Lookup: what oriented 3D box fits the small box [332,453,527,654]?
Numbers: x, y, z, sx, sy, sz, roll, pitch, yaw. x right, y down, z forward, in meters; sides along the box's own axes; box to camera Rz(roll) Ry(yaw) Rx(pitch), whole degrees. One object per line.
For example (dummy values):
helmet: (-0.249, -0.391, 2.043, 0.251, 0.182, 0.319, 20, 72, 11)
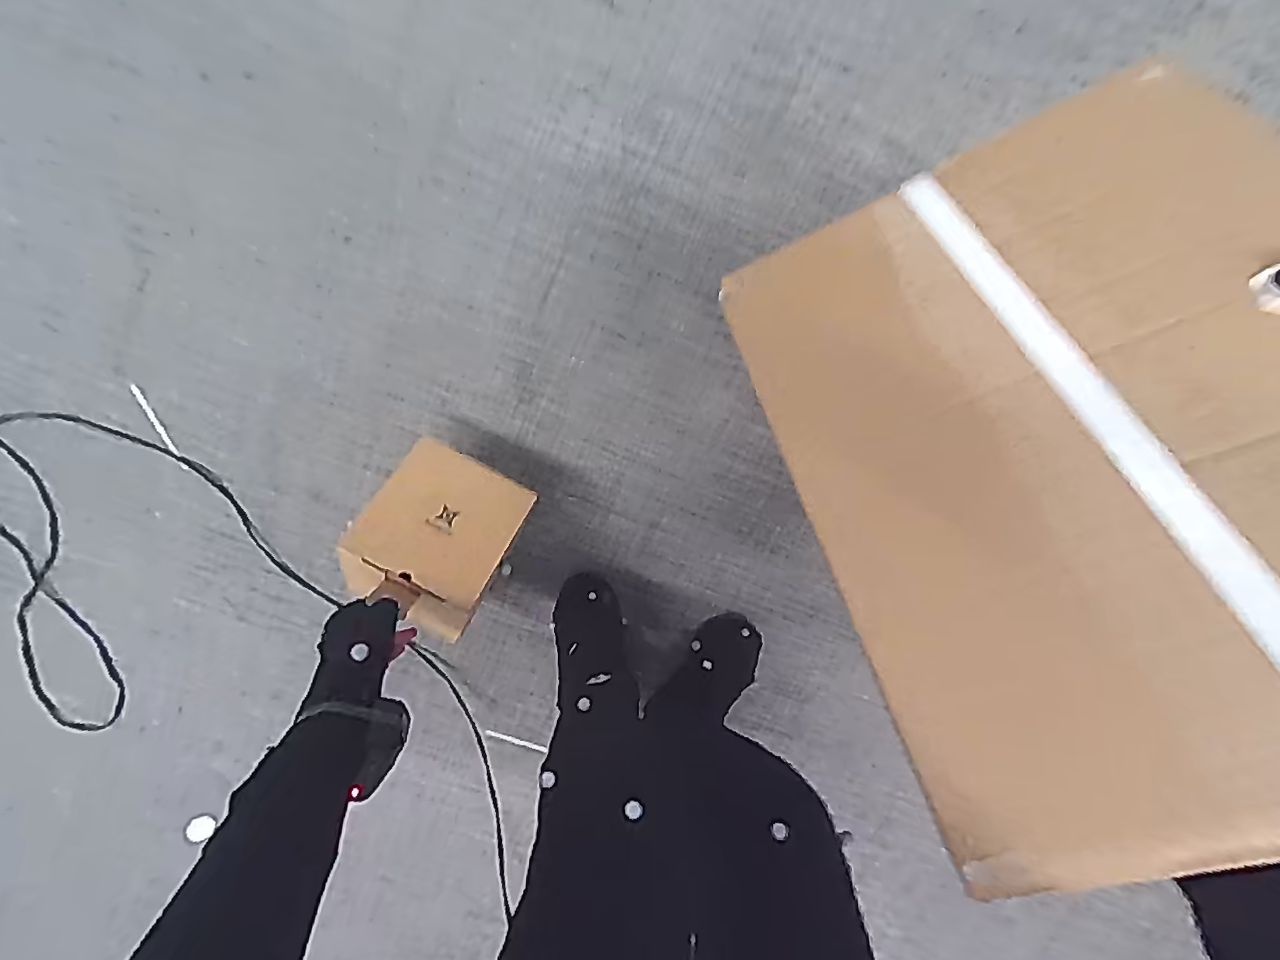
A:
small box: (-0.277, 0.103, 0.720, 0.168, 0.179, 0.176, 29, 143, -7)
